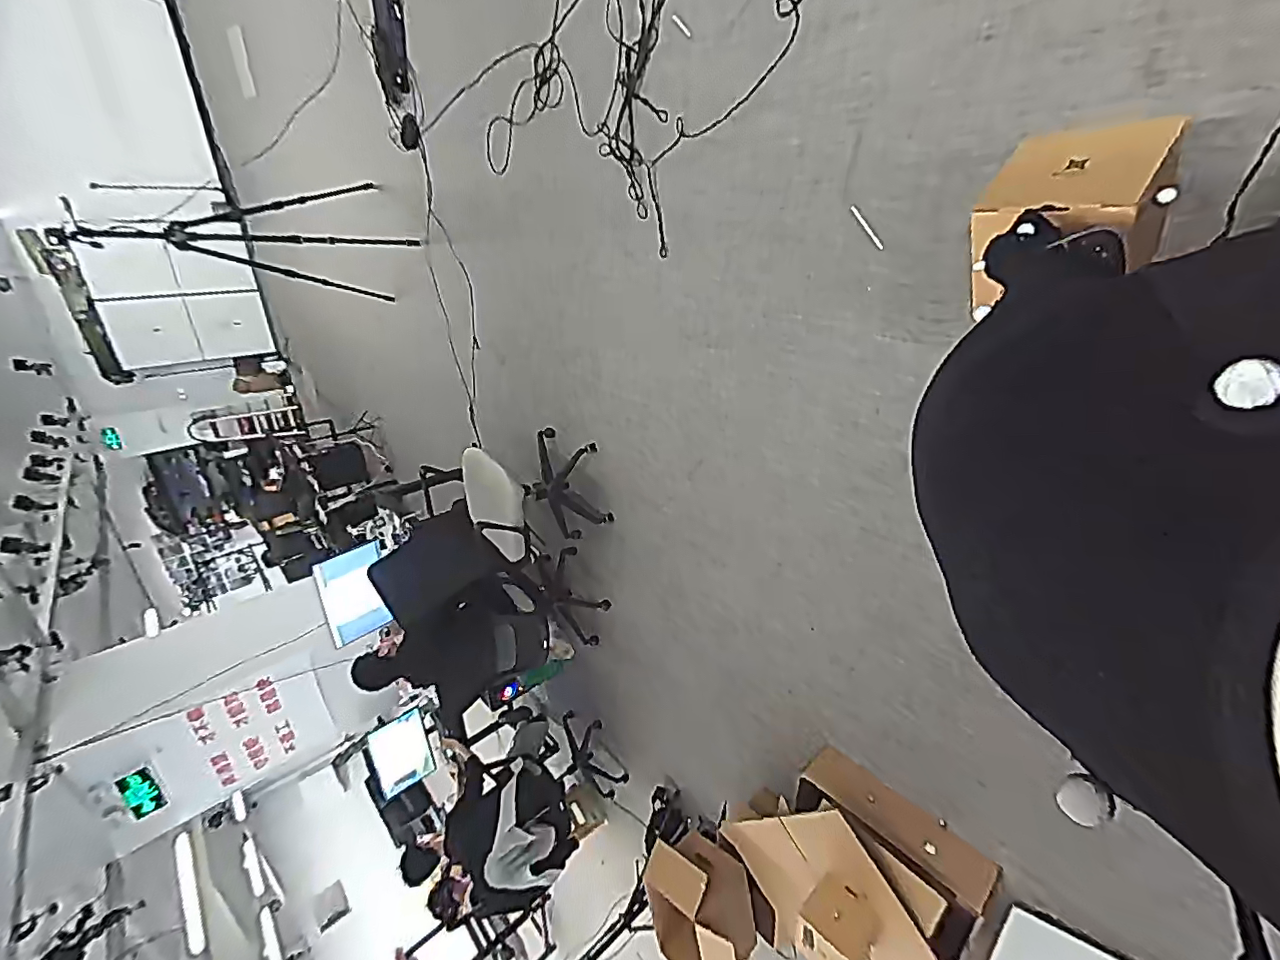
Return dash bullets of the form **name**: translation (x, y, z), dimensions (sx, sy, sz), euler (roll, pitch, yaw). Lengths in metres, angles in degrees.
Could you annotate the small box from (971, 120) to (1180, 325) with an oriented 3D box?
- **small box**: translation (0.565, -0.336, 0.721), dimensions (0.168, 0.179, 0.176), euler (23, 158, 43)
